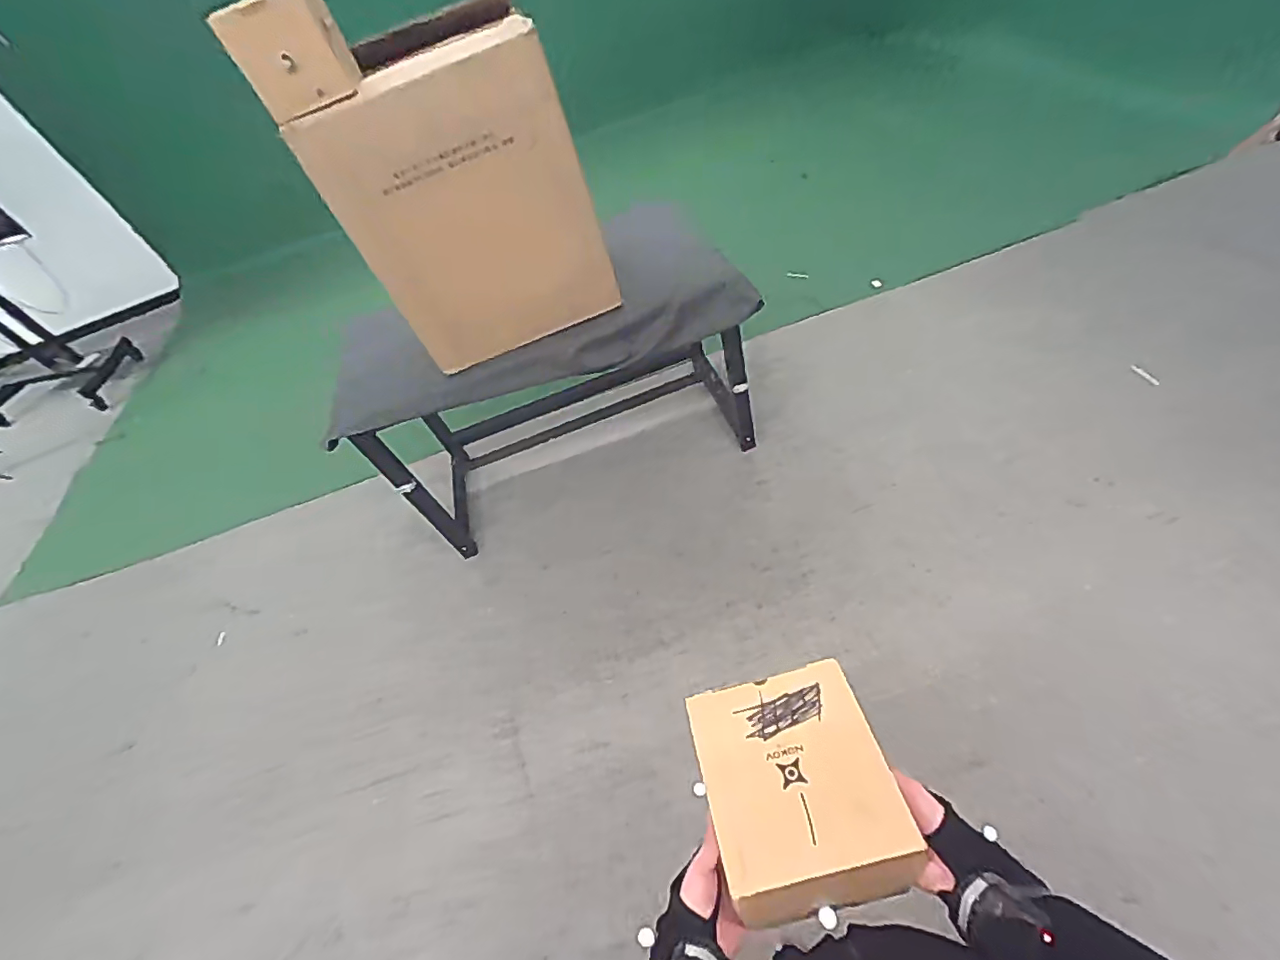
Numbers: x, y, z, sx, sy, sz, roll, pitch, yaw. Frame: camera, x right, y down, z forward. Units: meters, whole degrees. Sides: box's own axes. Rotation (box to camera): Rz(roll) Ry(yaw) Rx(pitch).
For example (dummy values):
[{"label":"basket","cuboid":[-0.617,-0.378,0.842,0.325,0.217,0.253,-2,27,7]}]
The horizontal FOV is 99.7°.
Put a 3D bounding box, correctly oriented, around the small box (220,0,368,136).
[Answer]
[{"label":"small box","cuboid":[-0.659,-0.805,1.055,0.168,0.176,0.179,-22,48,1]}]
